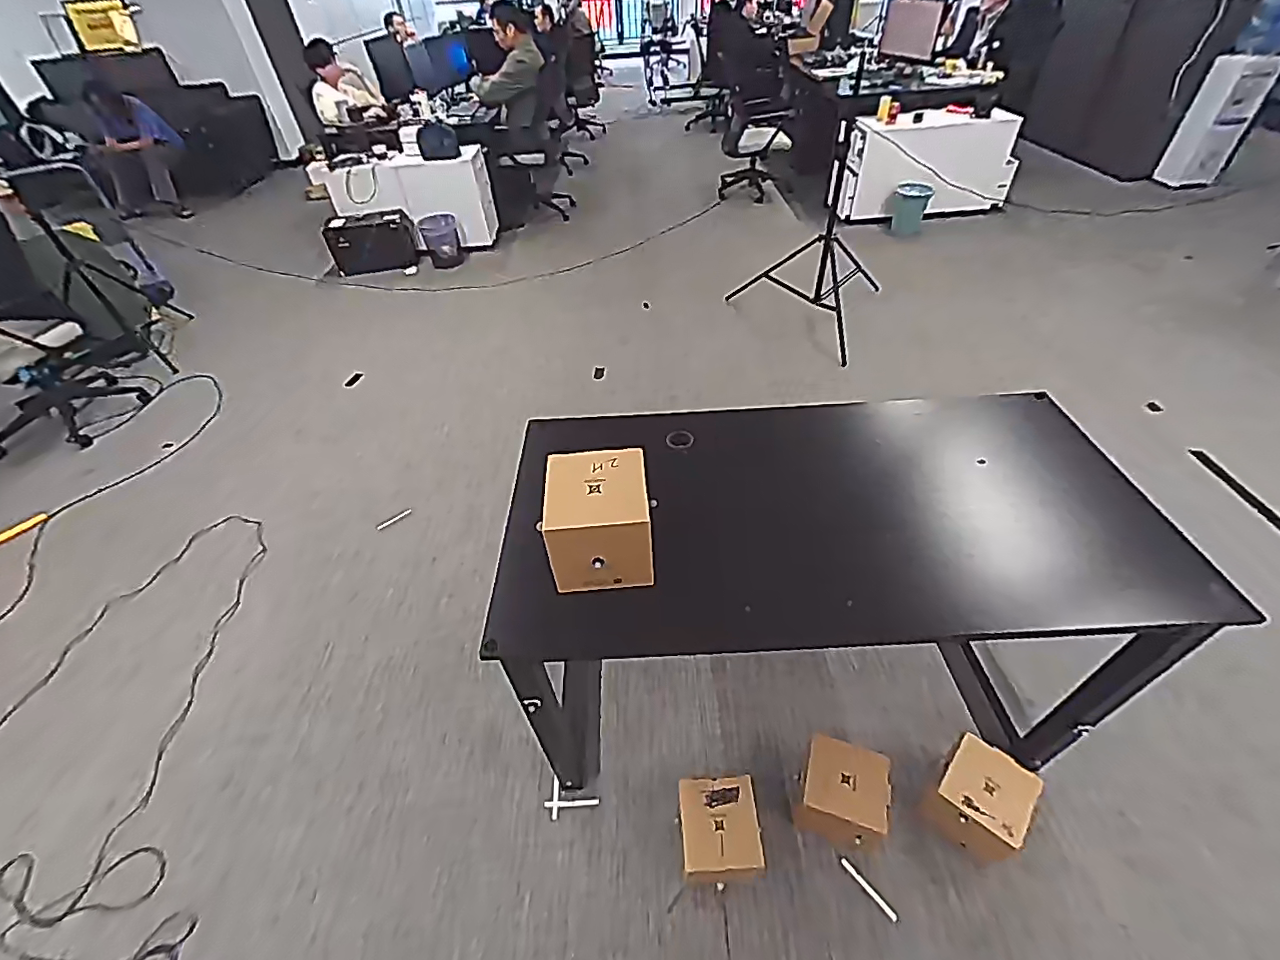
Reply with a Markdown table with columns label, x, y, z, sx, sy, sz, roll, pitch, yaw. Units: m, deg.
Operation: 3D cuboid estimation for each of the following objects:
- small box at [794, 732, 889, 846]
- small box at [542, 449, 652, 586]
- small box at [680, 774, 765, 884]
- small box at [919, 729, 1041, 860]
| label | x | y | z | sx | sy | sz | roll | pitch | yaw |
| --- | --- | --- | --- | --- | --- | --- | --- | --- | --- |
| small box | 0.469 | 0.727 | 1.266 | 0.179 | 0.176 | 0.168 | 11 | 46 | 17 |
| small box | -0.068 | 0.070 | 0.935 | 0.168 | 0.176 | 0.179 | -5 | 44 | -1 |
| small box | 0.177 | 0.790 | 1.224 | 0.168 | 0.176 | 0.179 | -4 | 46 | 1 |
| small box | 0.771 | 0.721 | 1.240 | 0.168 | 0.176 | 0.179 | 30 | 54 | 31 |
